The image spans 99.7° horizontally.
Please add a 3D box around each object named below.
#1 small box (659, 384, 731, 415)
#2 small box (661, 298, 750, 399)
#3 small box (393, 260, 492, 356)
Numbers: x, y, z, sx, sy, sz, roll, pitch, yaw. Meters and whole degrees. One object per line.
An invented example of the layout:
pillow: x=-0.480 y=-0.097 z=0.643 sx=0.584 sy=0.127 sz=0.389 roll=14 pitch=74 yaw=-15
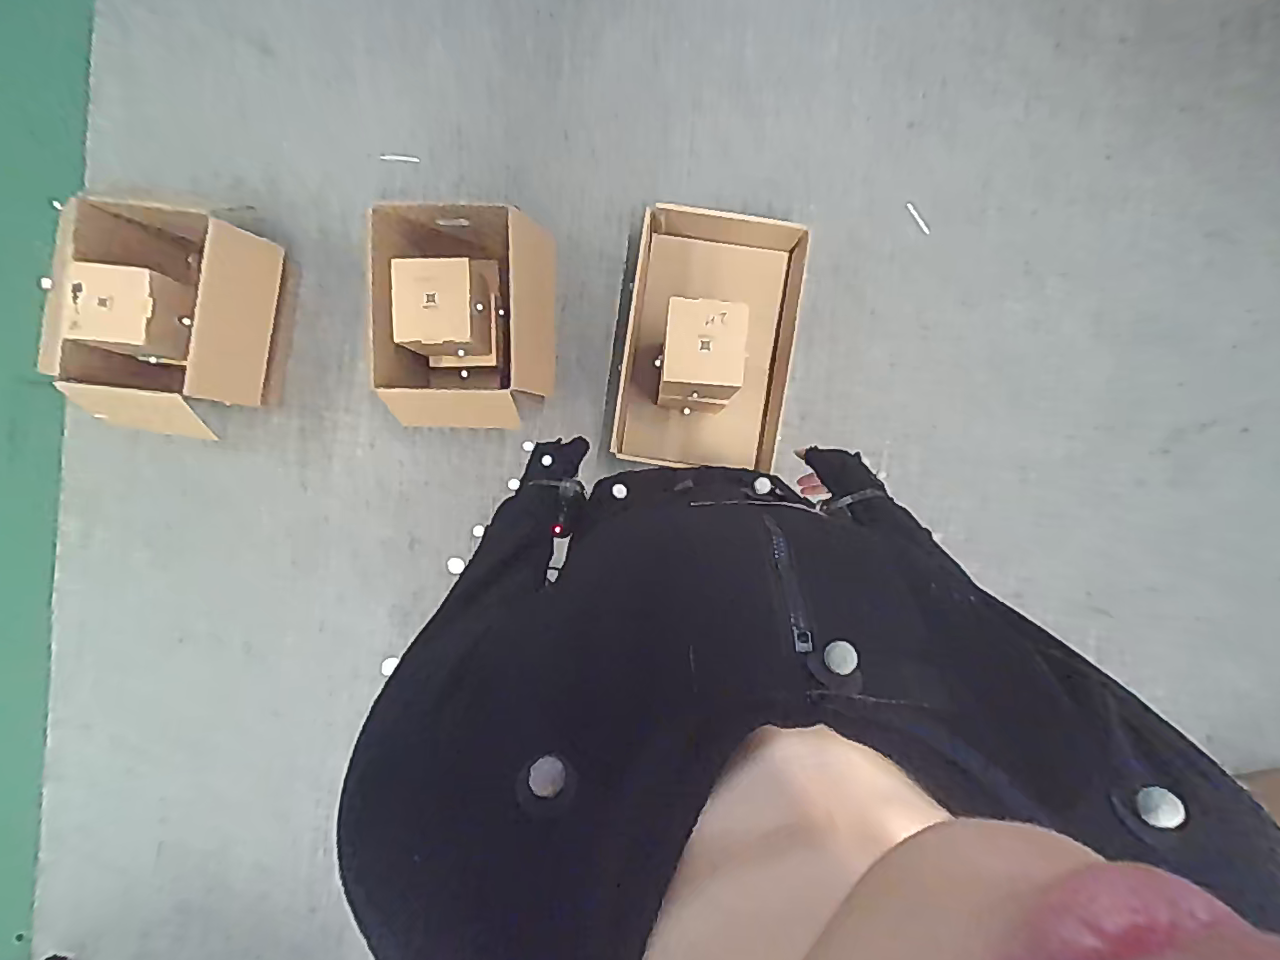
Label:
small box: x=0.139 y=-0.267 z=1.336 sx=0.168 sy=0.176 sz=0.179 roll=7 pitch=90 yaw=0
small box: x=0.135 y=-0.276 z=1.171 sx=0.168 sy=0.176 sz=0.179 roll=4 pitch=89 yaw=0
small box: x=-0.434 y=-0.377 z=1.210 sx=0.168 sy=0.176 sz=0.179 roll=0 pitch=93 yaw=0
